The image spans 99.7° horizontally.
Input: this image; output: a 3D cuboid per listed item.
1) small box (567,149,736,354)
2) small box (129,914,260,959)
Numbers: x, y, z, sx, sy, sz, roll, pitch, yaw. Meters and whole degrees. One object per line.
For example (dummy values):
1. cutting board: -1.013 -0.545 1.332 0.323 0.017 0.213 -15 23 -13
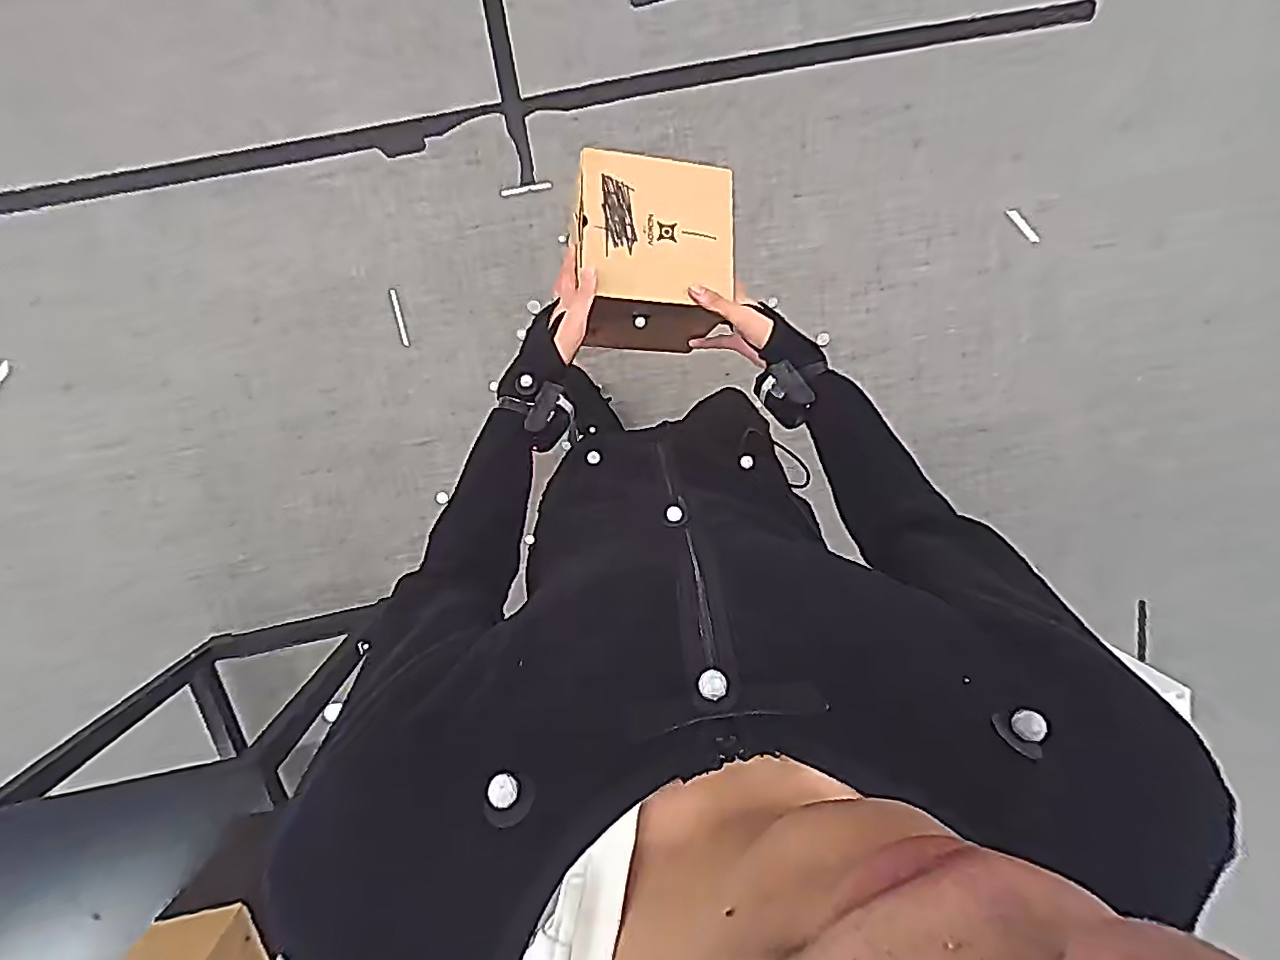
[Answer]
1. small box: 0.005 -0.262 0.662 0.179 0.176 0.168 1 85 -13
2. small box: -0.810 0.914 0.943 0.179 0.176 0.168 -11 103 -2
